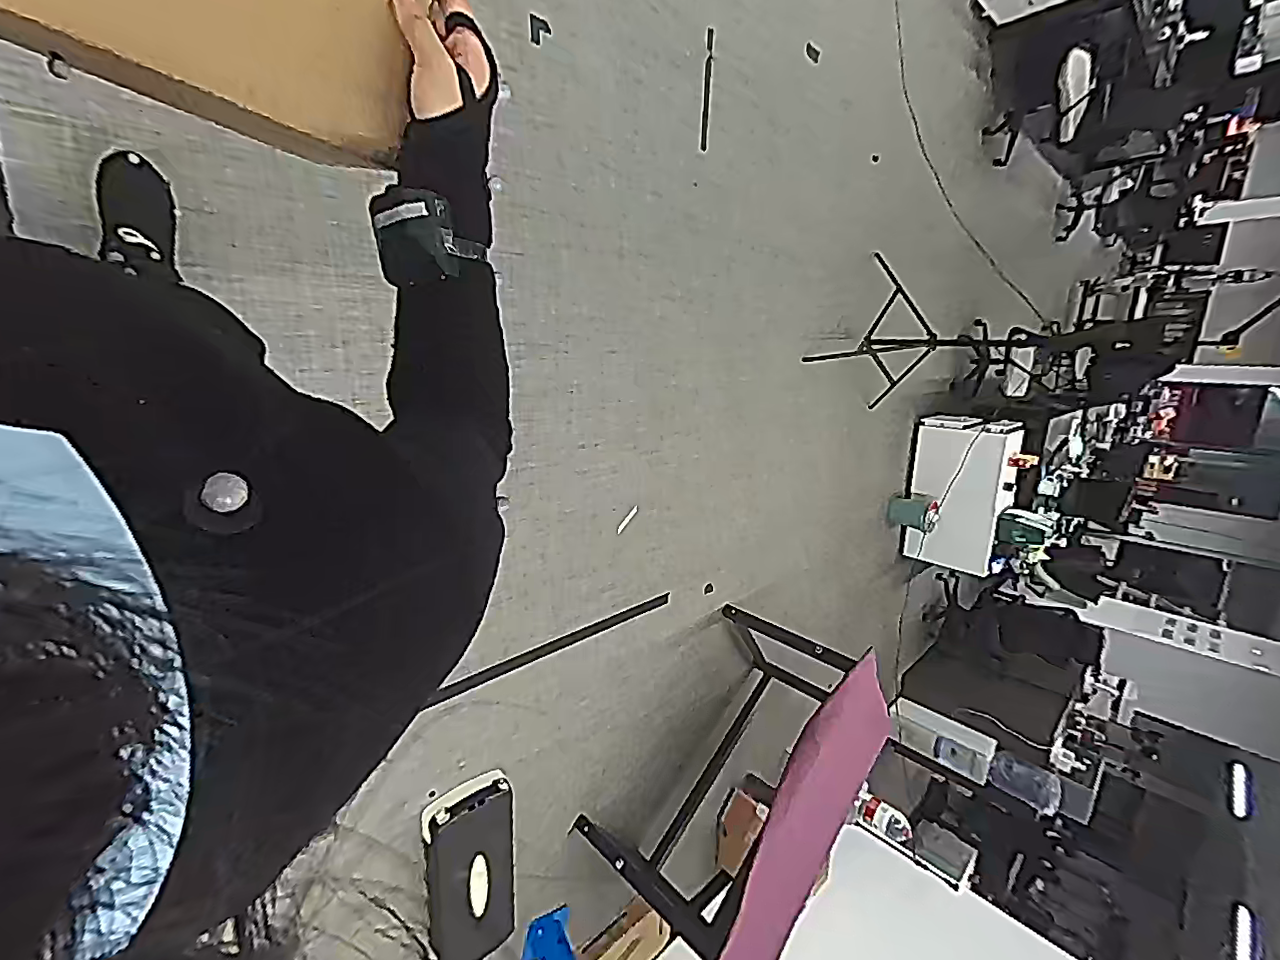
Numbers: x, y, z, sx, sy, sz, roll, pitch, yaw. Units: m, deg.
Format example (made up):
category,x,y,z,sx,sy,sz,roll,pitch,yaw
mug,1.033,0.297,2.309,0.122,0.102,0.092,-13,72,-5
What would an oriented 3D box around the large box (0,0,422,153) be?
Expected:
category,x,y,z,sx,sy,sz,roll,pitch,yaw
large box,-0.388,-0.470,0.368,0.408,0.320,0.320,3,111,-43
